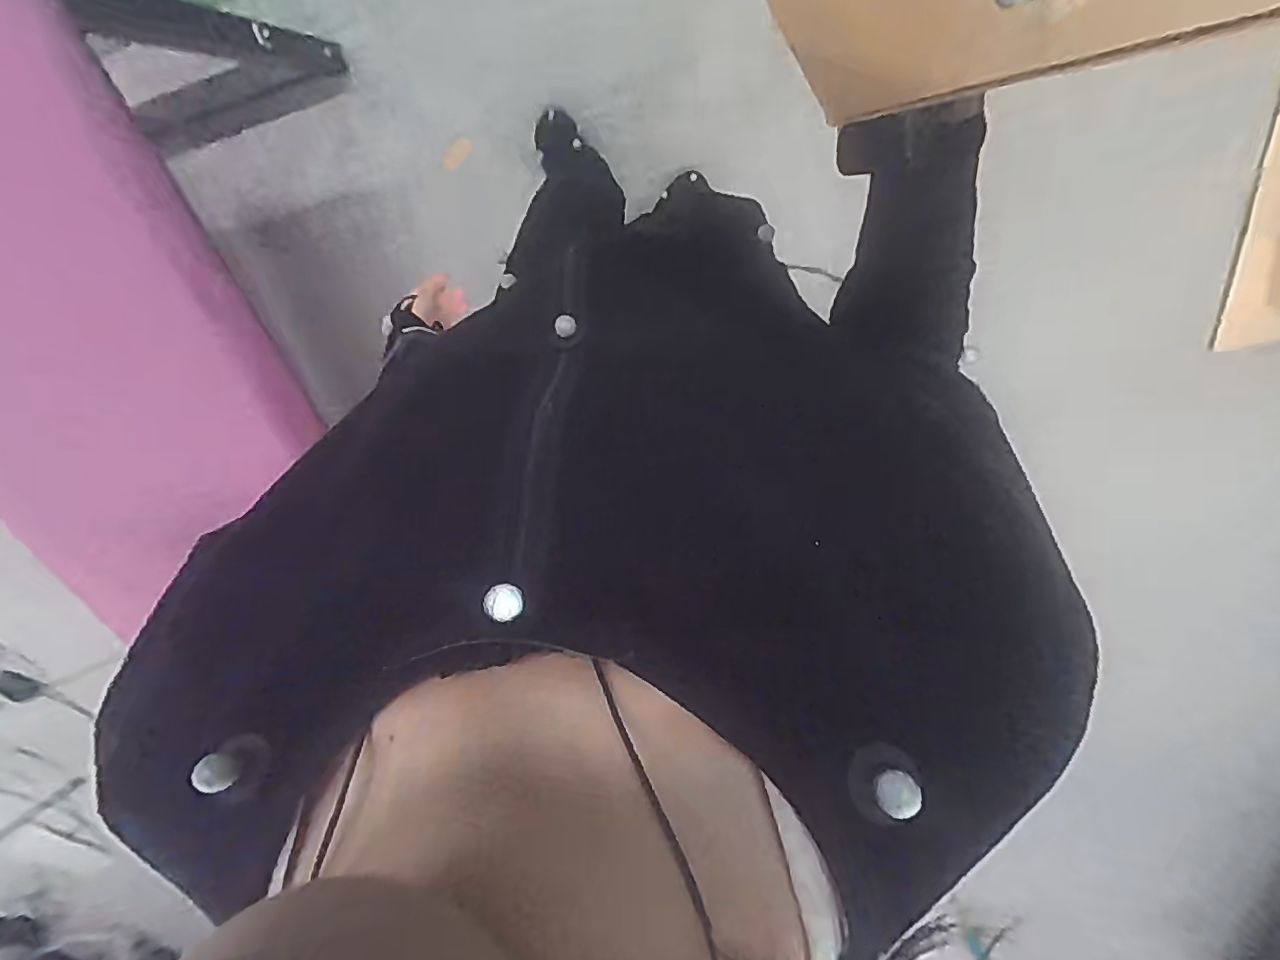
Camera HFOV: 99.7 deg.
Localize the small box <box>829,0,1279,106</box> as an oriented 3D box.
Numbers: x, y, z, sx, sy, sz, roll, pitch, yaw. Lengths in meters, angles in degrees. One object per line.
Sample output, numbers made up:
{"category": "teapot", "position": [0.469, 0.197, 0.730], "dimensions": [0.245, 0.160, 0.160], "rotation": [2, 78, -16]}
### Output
{"category": "small box", "position": [0.130, -0.245, 0.130], "dimensions": [0.176, 0.179, 0.168], "rotation": [31, 88, -41]}
